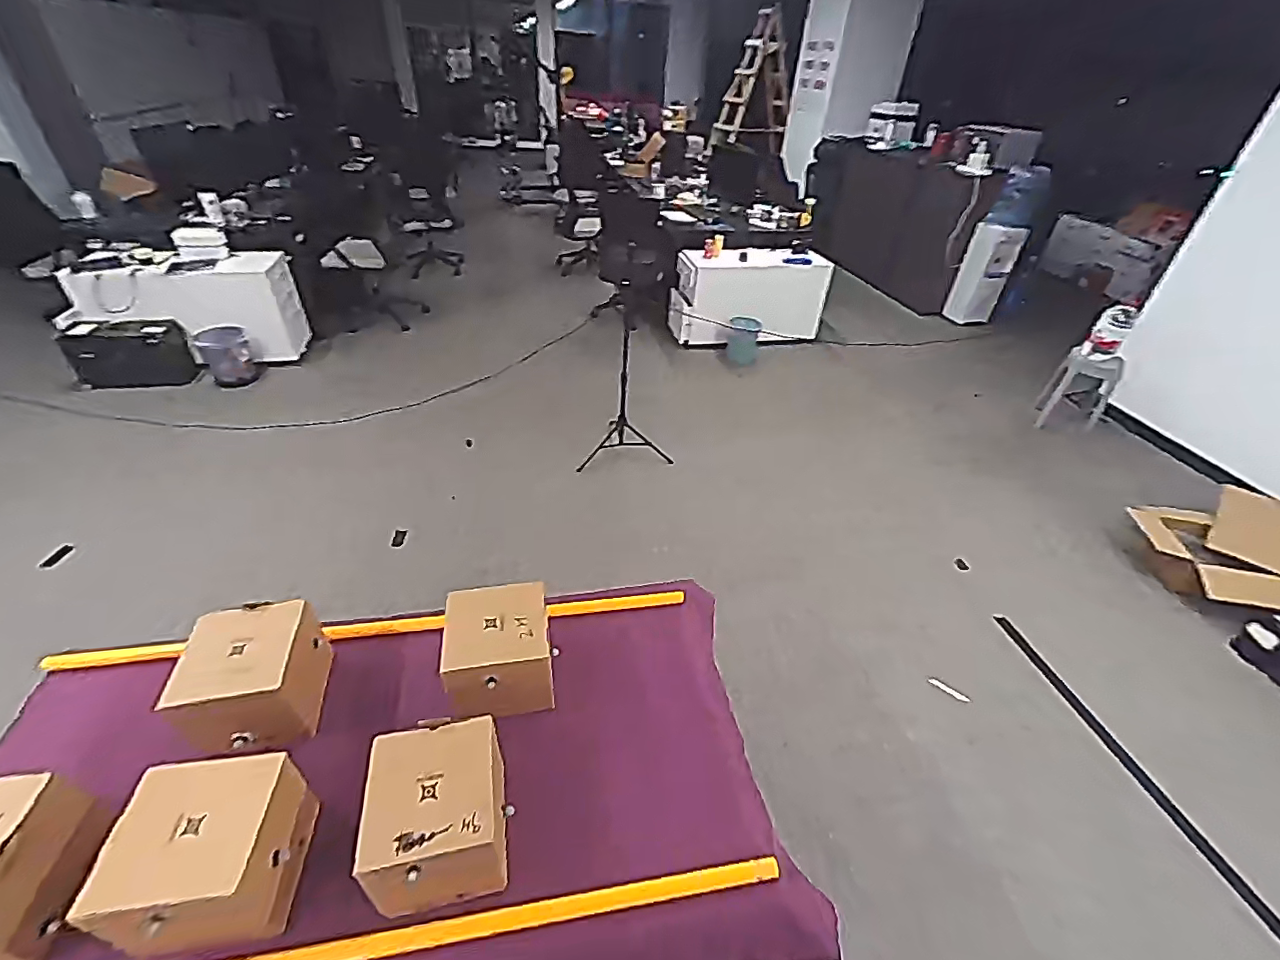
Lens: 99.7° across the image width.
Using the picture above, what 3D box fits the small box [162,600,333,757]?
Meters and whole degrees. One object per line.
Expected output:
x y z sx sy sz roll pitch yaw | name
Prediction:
-0.646 0.335 0.921 0.168 0.176 0.179 -7 40 -12 | small box

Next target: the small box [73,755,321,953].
-0.560 0.496 0.722 0.179 0.176 0.168 -4 38 -8 | small box

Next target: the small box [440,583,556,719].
-0.250 0.312 0.983 0.179 0.176 0.168 -4 40 -10 | small box

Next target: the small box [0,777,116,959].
-0.841 0.503 0.684 0.179 0.176 0.168 -2 38 -7 | small box

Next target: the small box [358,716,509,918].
-0.279 0.475 0.771 0.168 0.176 0.179 -6 36 -12 | small box
